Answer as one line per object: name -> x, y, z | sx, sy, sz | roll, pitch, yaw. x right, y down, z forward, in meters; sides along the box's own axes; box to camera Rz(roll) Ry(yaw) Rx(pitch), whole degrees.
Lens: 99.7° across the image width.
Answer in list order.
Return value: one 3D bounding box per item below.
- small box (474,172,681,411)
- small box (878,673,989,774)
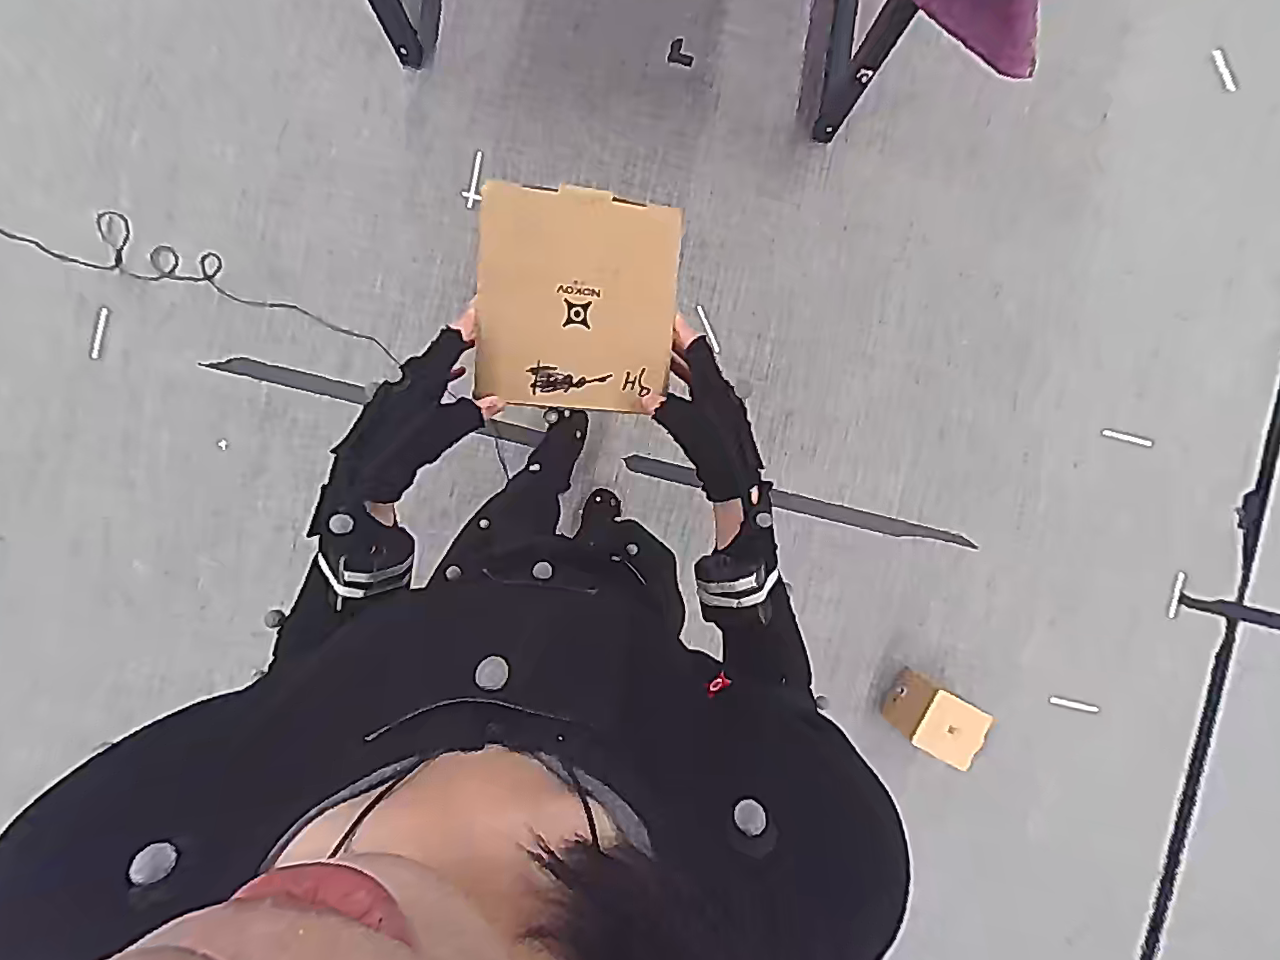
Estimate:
small box -> -0.066, -0.162, 0.528 | 0.168, 0.176, 0.179 | 3, 96, -11
small box -> 0.805, 0.665, 1.501 | 0.179, 0.176, 0.168 | 29, 89, -2
